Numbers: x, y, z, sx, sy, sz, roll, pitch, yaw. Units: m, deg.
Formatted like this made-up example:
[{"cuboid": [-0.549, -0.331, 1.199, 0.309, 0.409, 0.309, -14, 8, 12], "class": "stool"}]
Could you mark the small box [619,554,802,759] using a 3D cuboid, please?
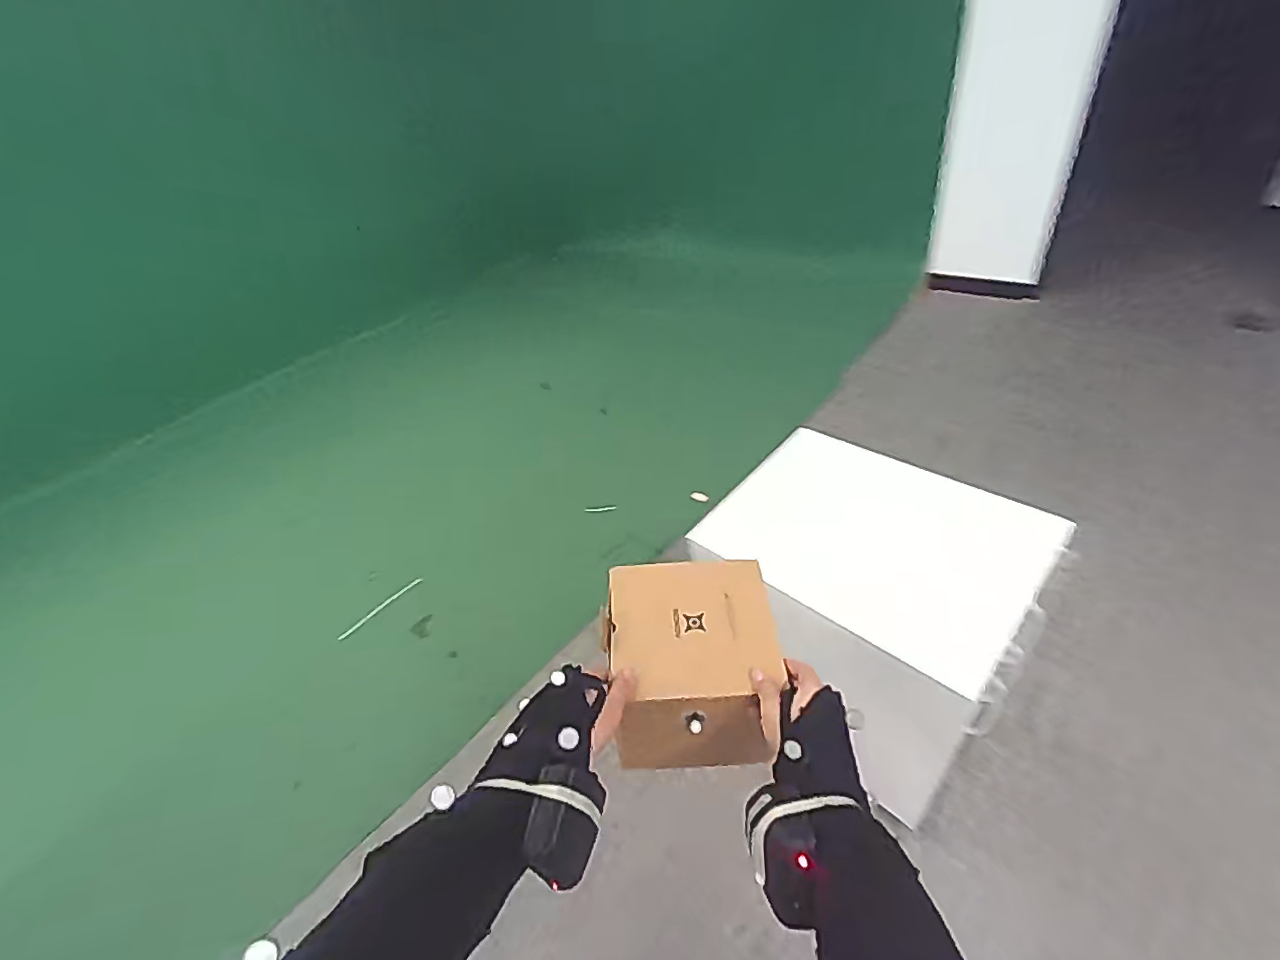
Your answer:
[{"cuboid": [0.070, 0.203, 0.621, 0.179, 0.176, 0.168, -2, 42, 0], "class": "small box"}]
